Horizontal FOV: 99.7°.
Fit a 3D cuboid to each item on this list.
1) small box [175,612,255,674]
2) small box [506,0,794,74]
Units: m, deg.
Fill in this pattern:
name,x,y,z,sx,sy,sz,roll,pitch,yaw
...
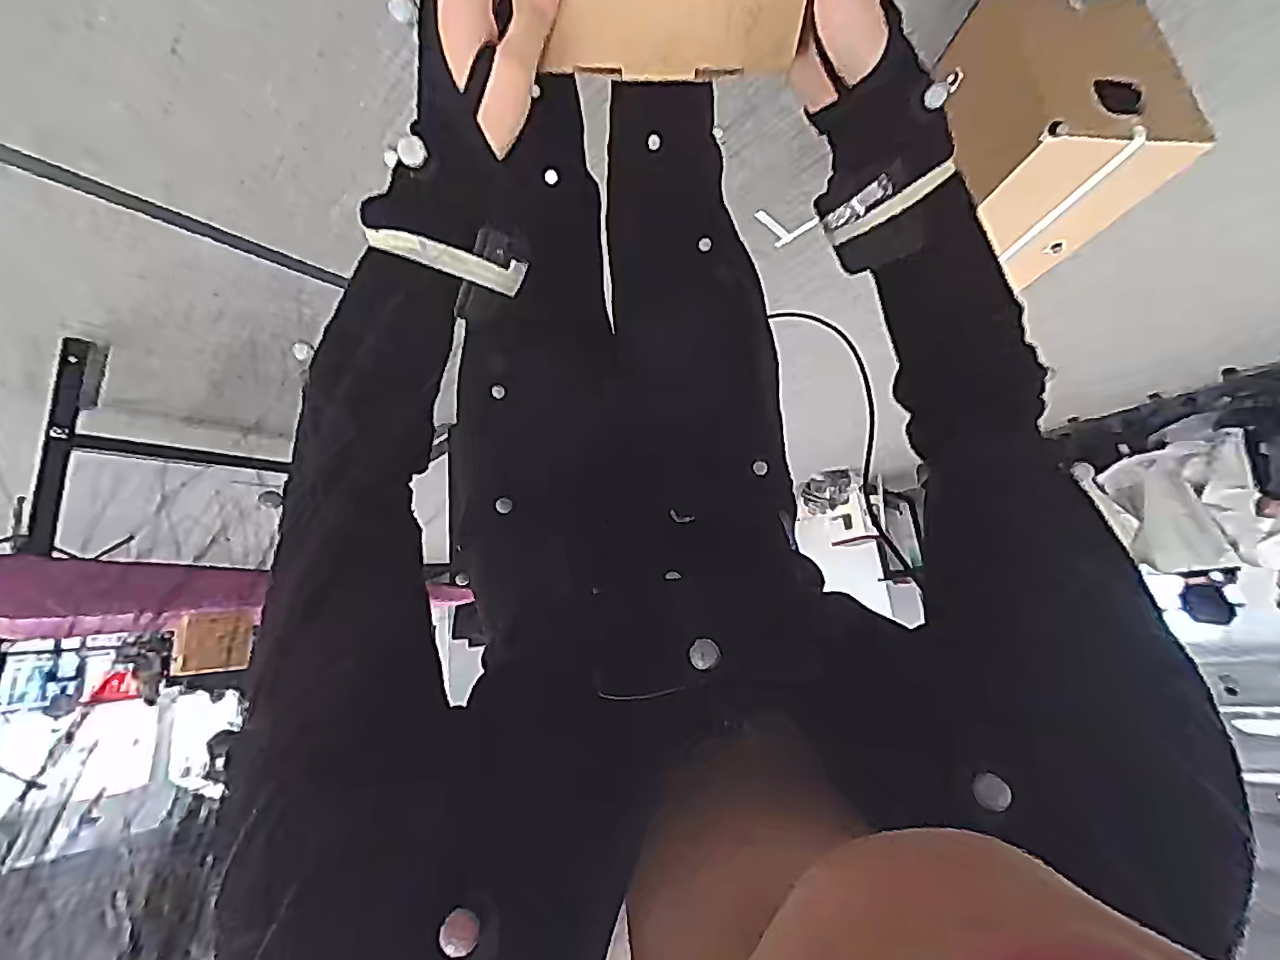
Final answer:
name,x,y,z,sx,sy,sz,roll,pitch,yaw
small box,-1.330,0.506,1.694,0.179,0.176,0.168,-19,160,39
small box,0.004,-0.365,0.315,0.168,0.176,0.179,-2,139,-3
